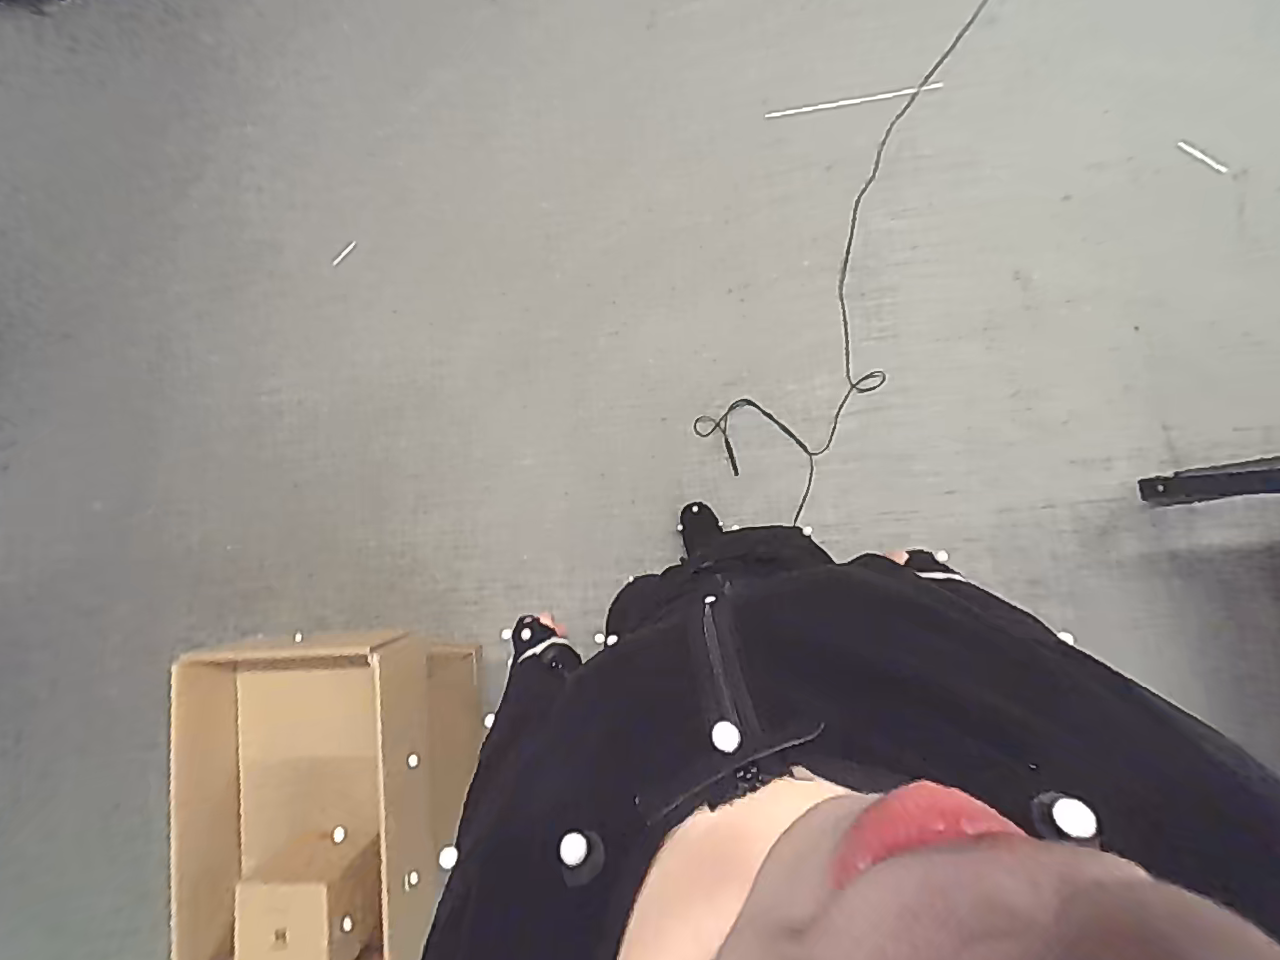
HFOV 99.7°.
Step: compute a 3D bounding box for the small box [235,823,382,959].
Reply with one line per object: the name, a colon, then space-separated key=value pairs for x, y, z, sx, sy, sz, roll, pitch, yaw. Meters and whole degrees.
small box: x=-0.587 y=0.760 z=0.977 sx=0.168 sy=0.176 sz=0.179 roll=-3 pitch=87 yaw=5
